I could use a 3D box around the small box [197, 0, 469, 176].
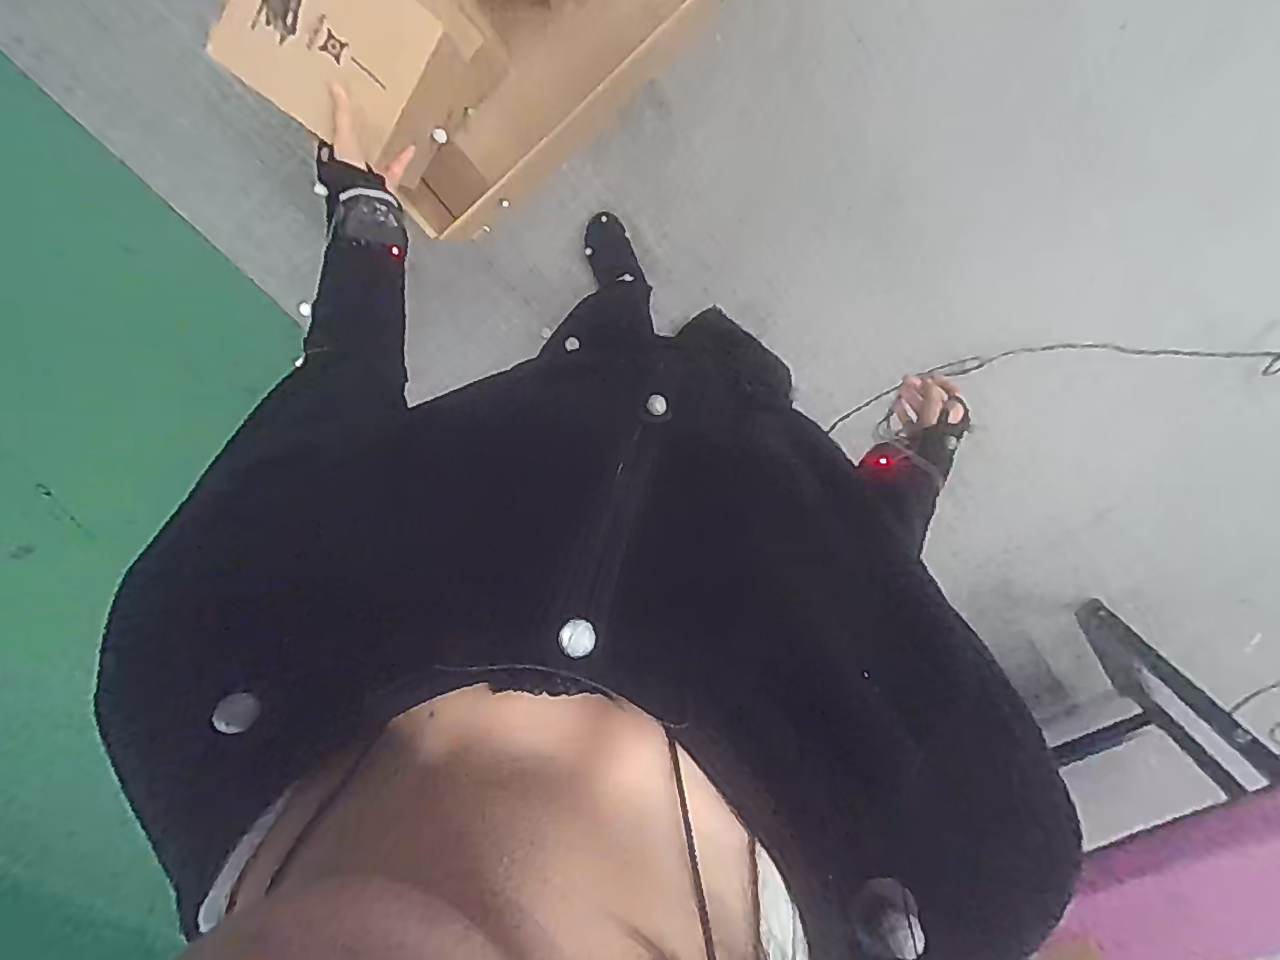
[{"bbox_3d":[-0.318,-0.468,0.599,0.179,0.176,0.168,35,105,-19],"label":"small box"}]
